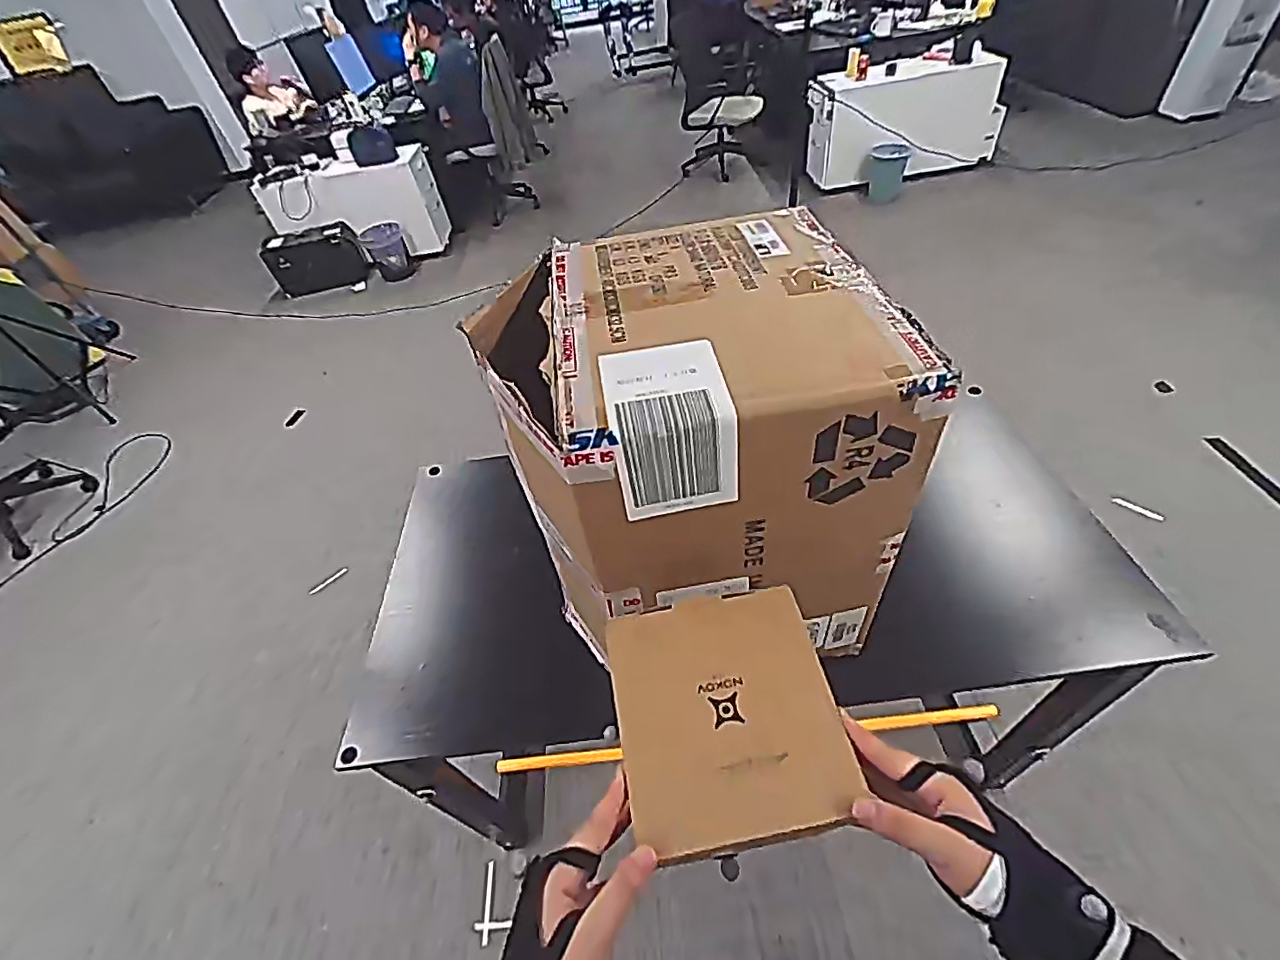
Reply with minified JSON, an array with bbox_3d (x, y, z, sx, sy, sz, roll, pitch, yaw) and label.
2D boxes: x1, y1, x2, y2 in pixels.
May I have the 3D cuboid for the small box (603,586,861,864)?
[{"bbox_3d":[0.063,0.220,0.480,0.168,0.176,0.179,-9,53,-3],"label":"small box"}]
